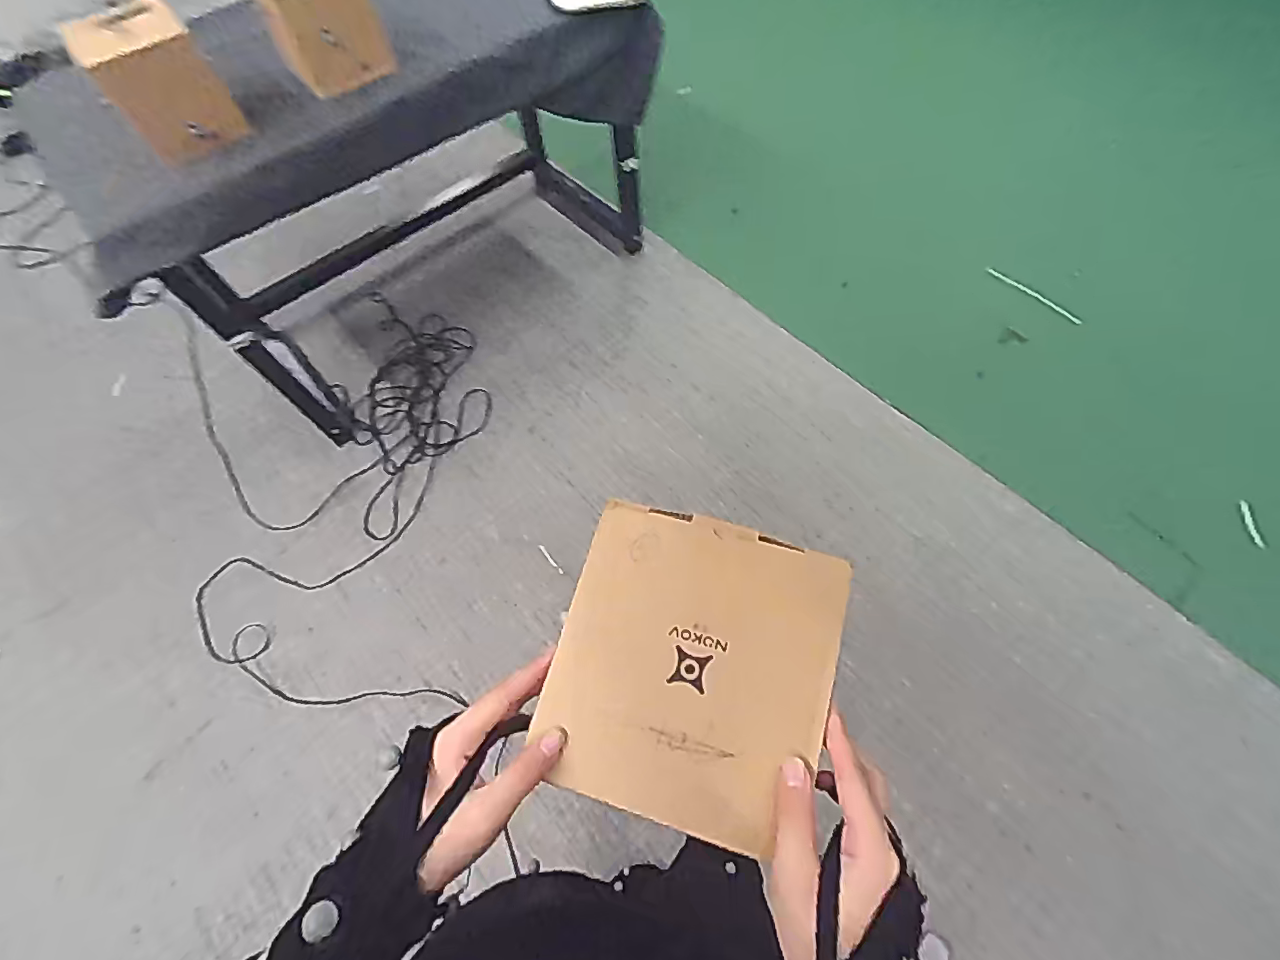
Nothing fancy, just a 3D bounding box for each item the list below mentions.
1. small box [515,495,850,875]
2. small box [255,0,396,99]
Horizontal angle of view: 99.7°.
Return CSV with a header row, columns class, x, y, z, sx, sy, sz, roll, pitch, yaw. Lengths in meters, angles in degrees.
class,x,y,z,sx,sy,sz,roll,pitch,yaw
small box,0.034,0.134,0.393,0.168,0.176,0.179,14,72,10
small box,-0.606,-0.874,1.039,0.168,0.176,0.179,-37,66,-14
